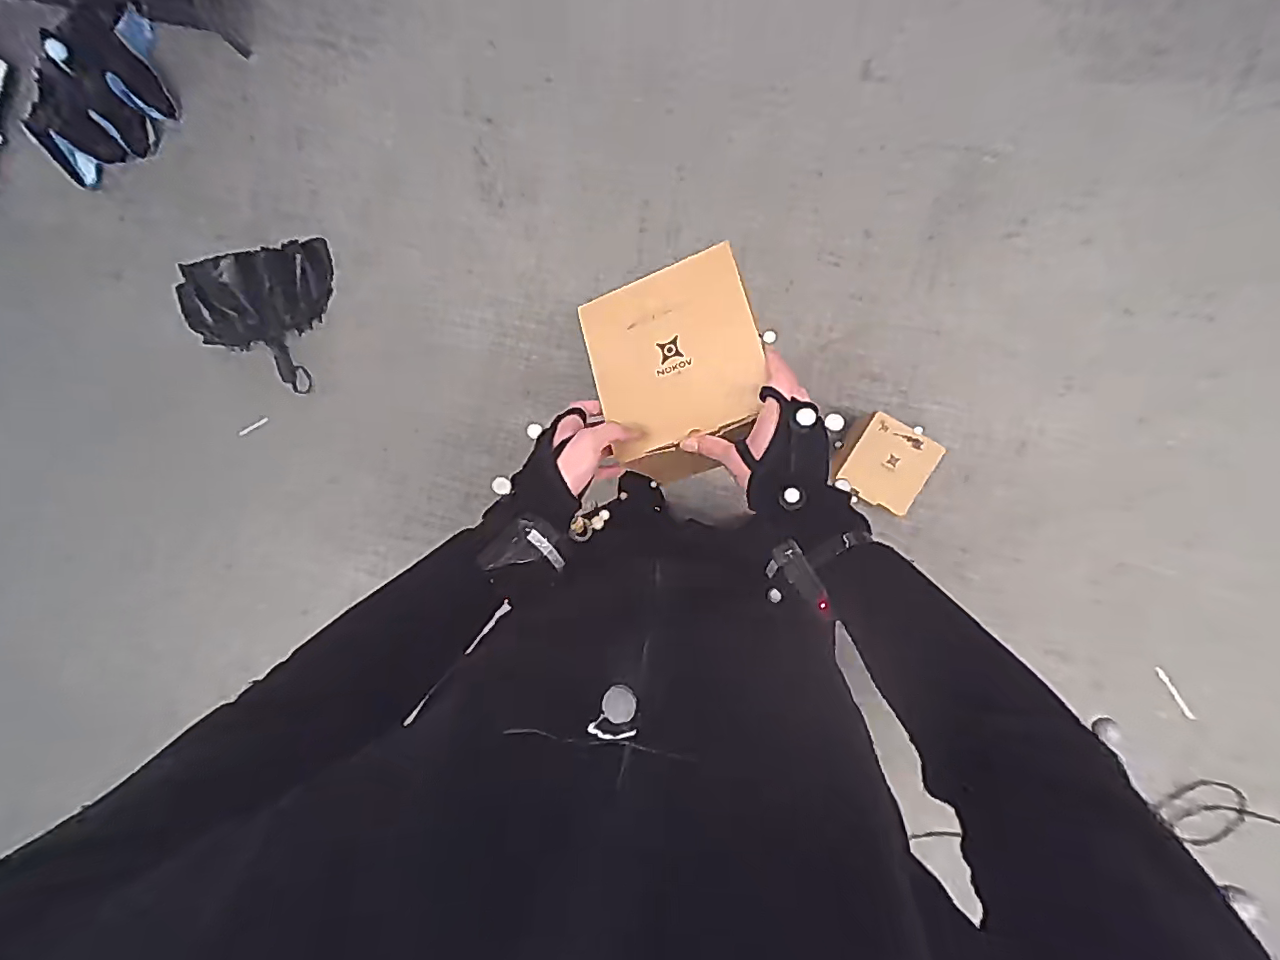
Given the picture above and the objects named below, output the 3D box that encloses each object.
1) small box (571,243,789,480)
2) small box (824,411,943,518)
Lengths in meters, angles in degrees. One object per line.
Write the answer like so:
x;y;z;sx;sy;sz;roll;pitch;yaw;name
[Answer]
0.052;-0.106;0.582;0.168;0.176;0.179;-20;76;16;small box
0.540;-0.035;1.229;0.168;0.176;0.179;31;95;6;small box
